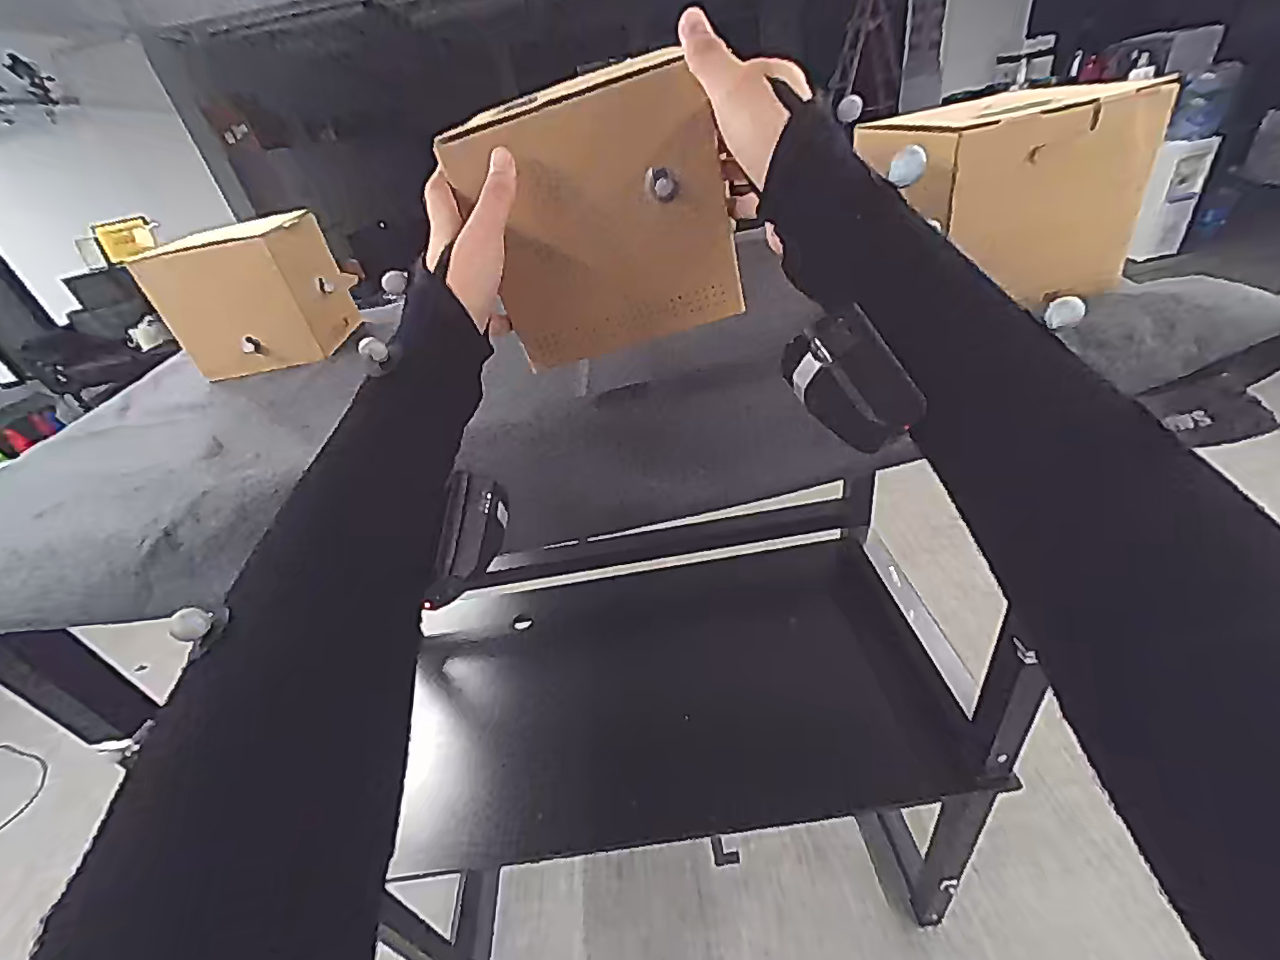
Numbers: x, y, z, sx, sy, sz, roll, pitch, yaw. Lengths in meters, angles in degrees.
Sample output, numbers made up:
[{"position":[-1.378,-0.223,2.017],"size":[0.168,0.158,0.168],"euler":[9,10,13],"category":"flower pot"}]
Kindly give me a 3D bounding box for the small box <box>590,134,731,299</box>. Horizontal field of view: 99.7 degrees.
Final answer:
[{"position":[0.028,-0.367,0.762],"size":[0.168,0.176,0.179],"euler":[-11,35,1],"category":"small box"}]

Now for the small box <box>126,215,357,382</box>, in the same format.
[{"position":[-0.539,-0.258,0.768],"size":[0.179,0.176,0.168],"euler":[-11,35,0],"category":"small box"}]

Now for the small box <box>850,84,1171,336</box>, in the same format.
[{"position":[0.313,-0.246,0.506],"size":[0.168,0.176,0.179],"euler":[-12,34,0],"category":"small box"}]
